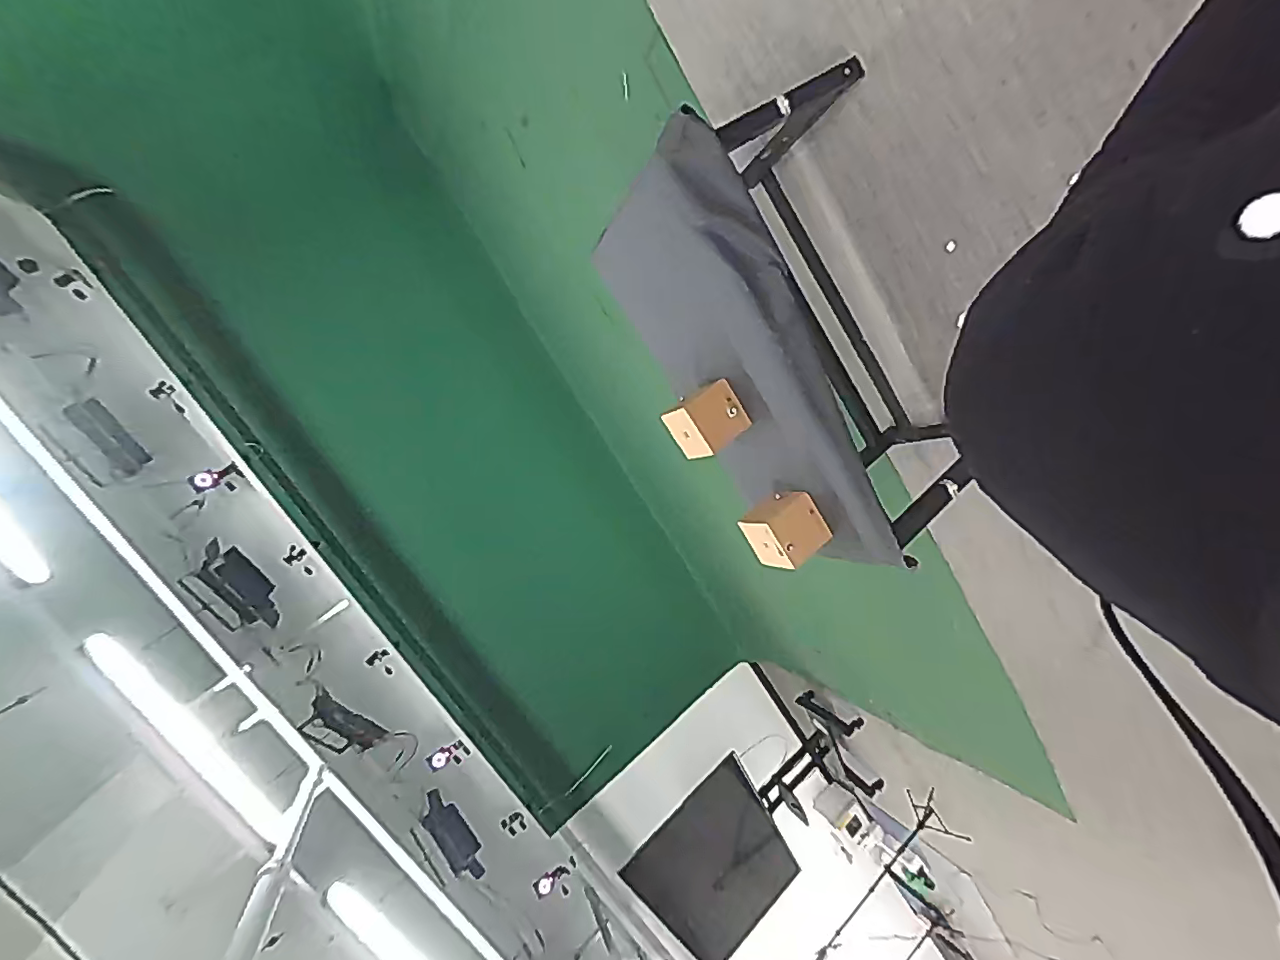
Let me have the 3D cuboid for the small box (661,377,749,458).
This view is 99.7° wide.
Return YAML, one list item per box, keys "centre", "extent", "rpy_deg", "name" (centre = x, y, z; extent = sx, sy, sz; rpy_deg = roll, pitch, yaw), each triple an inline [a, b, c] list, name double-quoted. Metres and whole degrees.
- centre: [0.199, -0.187, 1.644]
  extent: [0.168, 0.176, 0.179]
  rpy_deg: [54, 161, -10]
  name: "small box"

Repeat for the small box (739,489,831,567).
- centre: [0.442, 0.140, 1.653]
  extent: [0.168, 0.176, 0.179]
  rpy_deg: [55, 163, -10]
  name: "small box"
